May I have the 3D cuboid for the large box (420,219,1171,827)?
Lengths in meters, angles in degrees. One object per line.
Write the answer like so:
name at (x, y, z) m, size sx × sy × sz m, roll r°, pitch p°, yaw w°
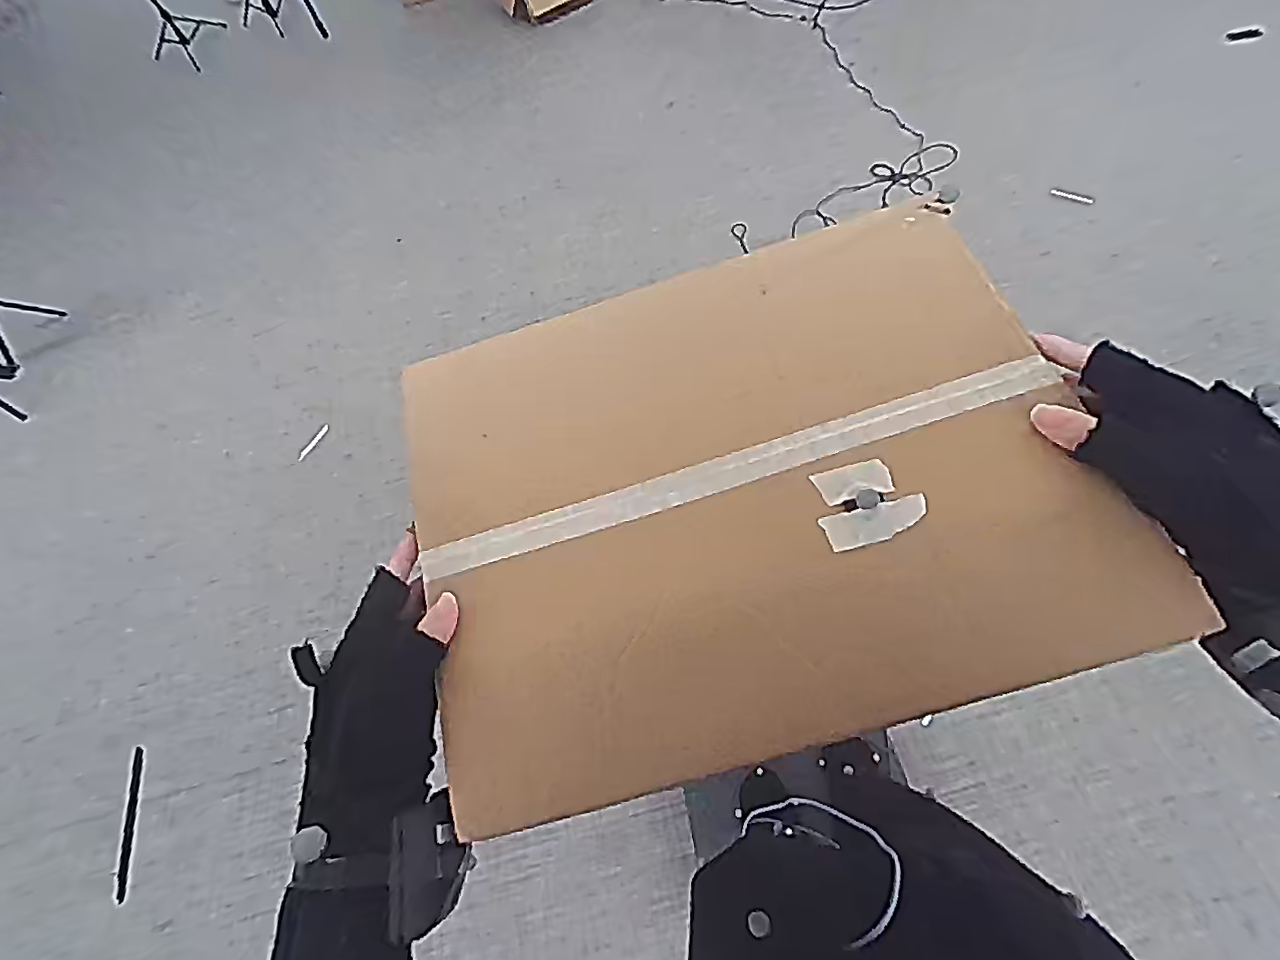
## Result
large box at (0.079, 0.053, 0.489) m, size 0.408 × 0.320 × 0.320 m, roll -18°, pitch 68°, yaw 2°
